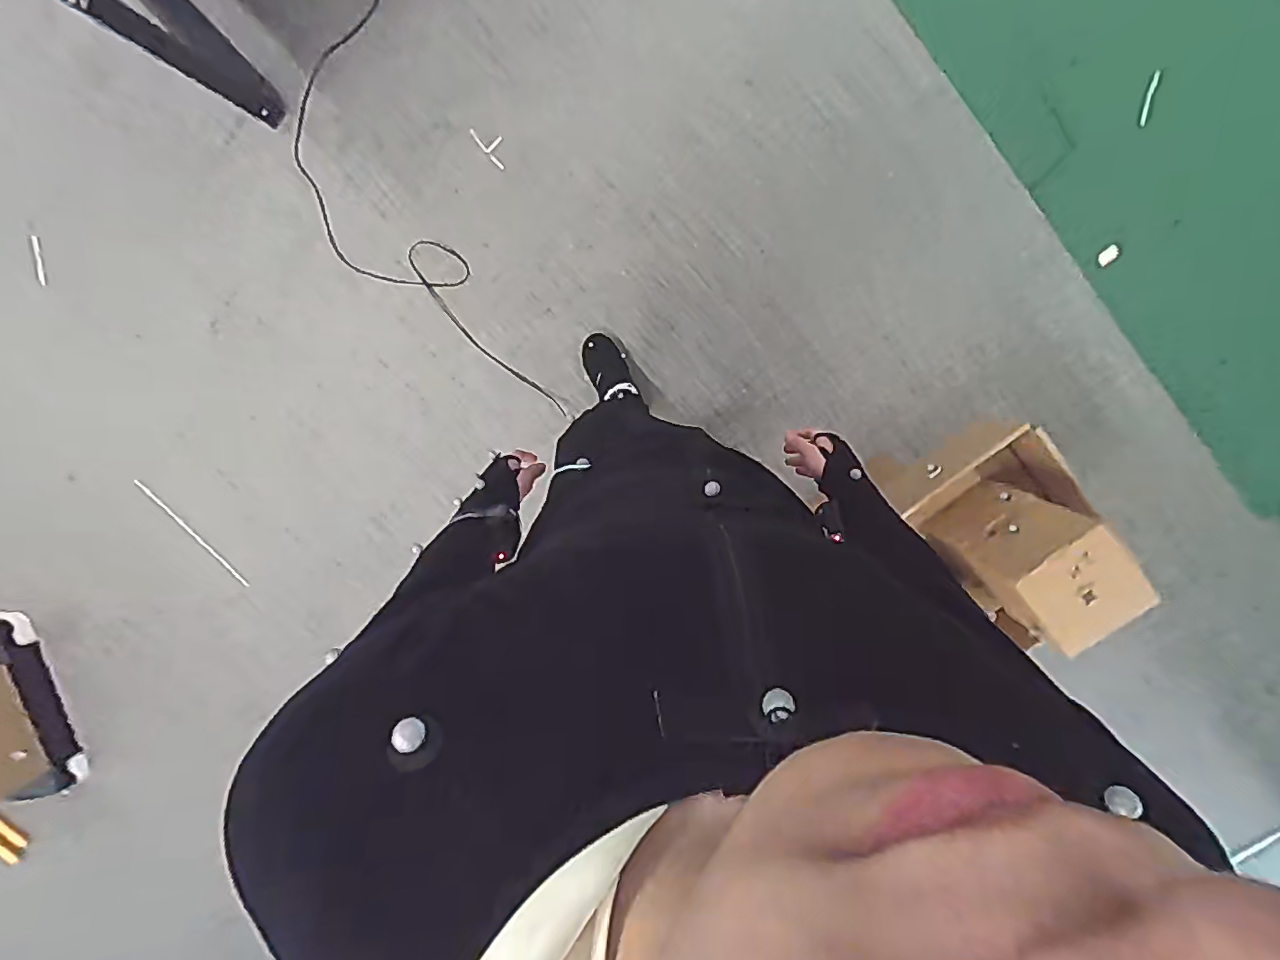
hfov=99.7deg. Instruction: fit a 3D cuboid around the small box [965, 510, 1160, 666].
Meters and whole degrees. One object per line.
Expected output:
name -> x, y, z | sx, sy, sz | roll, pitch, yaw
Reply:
small box -> 0.725, 0.179, 0.949 | 0.168, 0.176, 0.179 | -39, 97, 9
